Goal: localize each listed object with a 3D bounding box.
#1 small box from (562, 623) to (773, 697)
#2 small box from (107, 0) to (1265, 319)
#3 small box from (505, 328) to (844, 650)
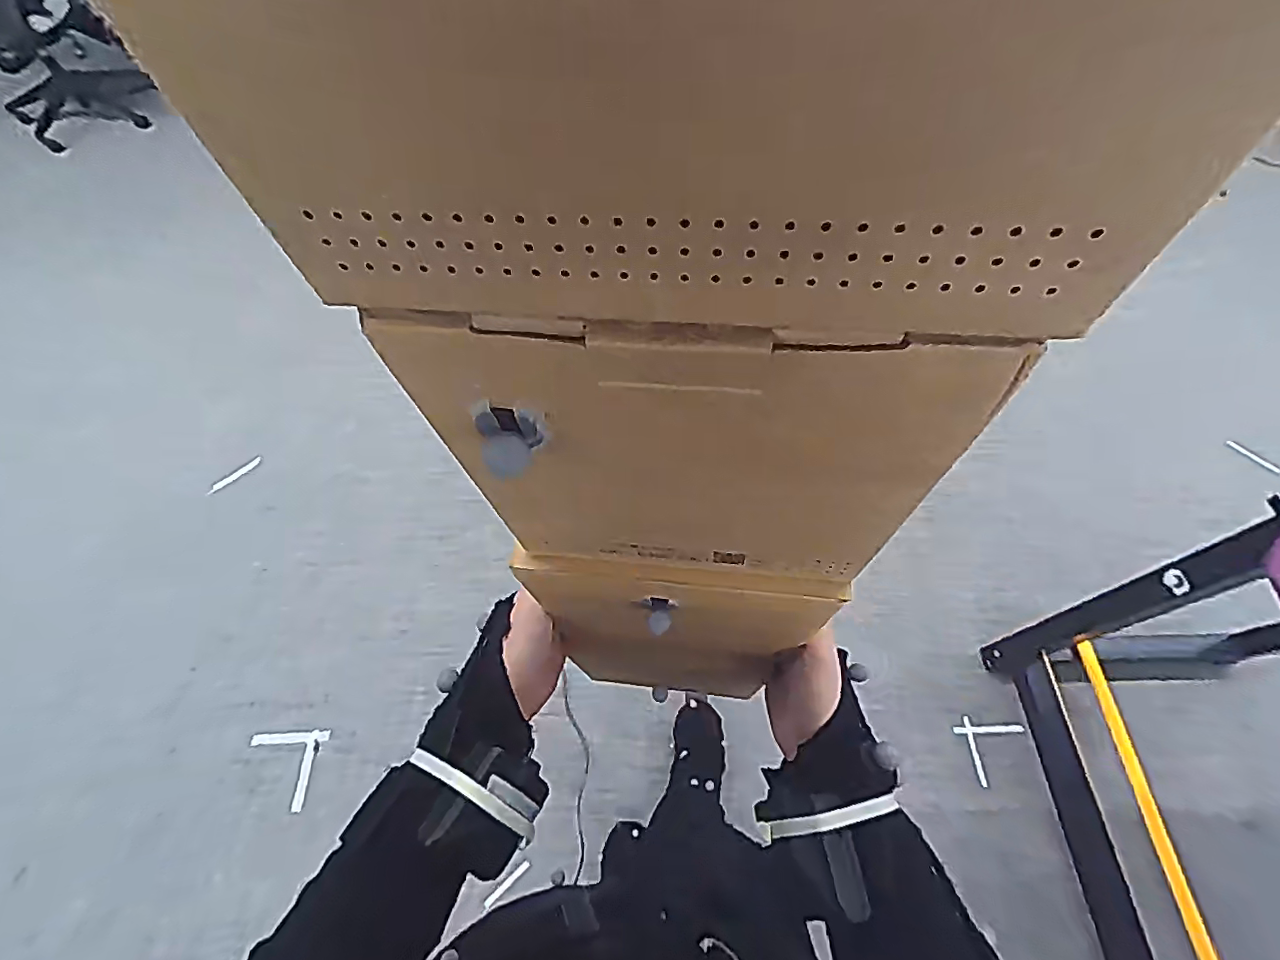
[{"bbox_3d":[0.034,0.099,0.520,0.168,0.176,0.179,4,63,7],"label":"small box"},{"bbox_3d":[0.009,-0.147,0.093,0.179,0.176,0.168,4,62,7],"label":"small box"},{"bbox_3d":[0.029,0.017,0.379,0.179,0.176,0.168,3,63,7],"label":"small box"}]
